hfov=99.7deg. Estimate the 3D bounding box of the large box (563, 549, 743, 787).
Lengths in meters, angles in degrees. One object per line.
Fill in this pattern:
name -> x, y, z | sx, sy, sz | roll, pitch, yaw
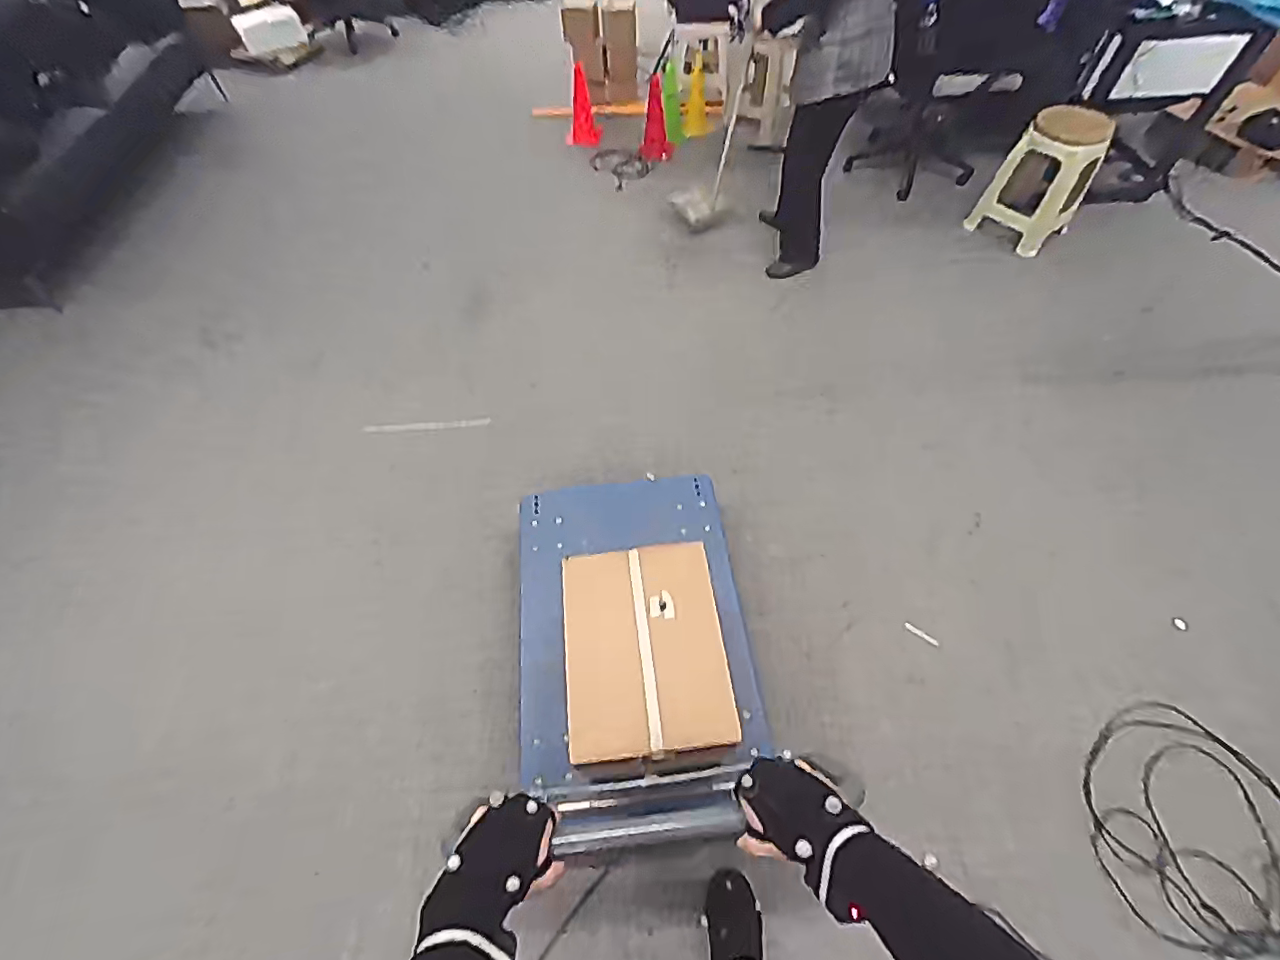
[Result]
large box -> 0.014, 0.417, 1.193 | 0.320, 0.320, 0.408 | -6, 55, -3
